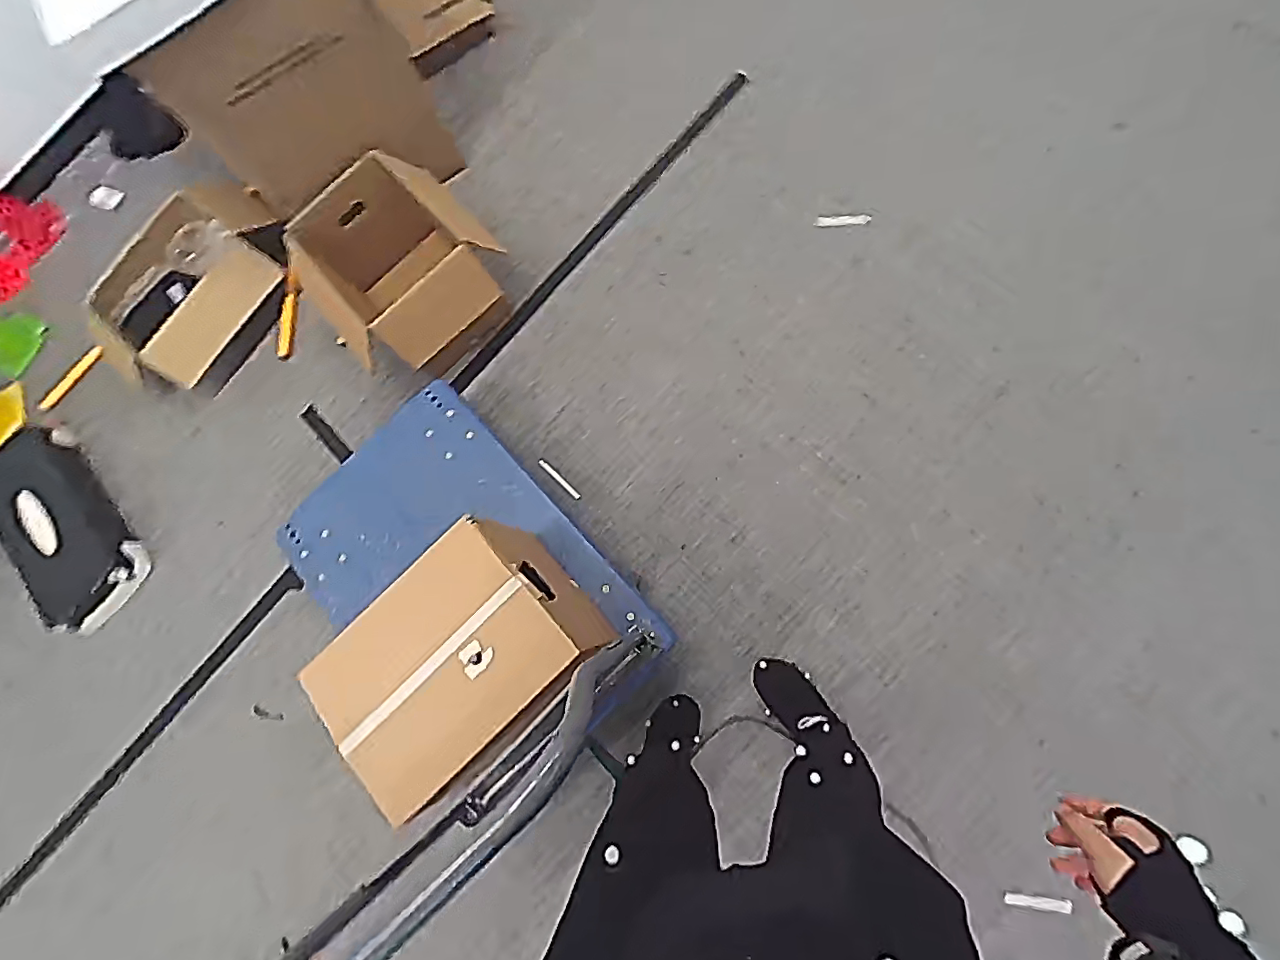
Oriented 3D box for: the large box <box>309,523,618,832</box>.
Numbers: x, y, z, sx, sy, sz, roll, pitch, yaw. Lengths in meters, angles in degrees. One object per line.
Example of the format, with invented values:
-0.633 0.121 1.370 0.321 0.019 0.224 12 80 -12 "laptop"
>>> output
-0.308 0.349 1.038 0.408 0.320 0.320 -44 75 -2 "large box"
